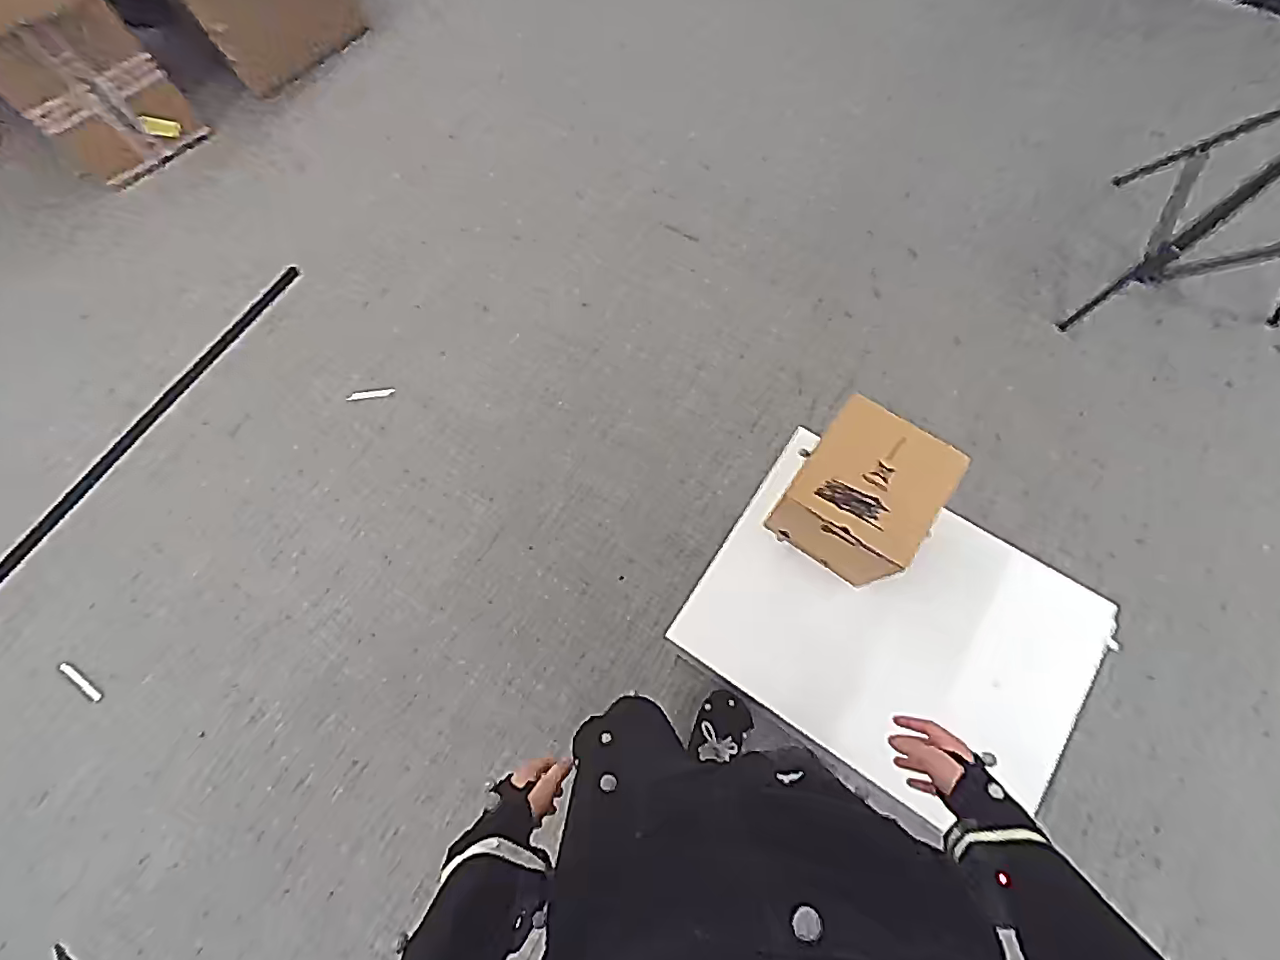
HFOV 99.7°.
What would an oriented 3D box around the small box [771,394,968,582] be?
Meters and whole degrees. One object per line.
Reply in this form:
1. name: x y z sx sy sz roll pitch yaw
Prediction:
1. small box: 0.299 0.022 0.747 0.168 0.176 0.179 35 76 12
